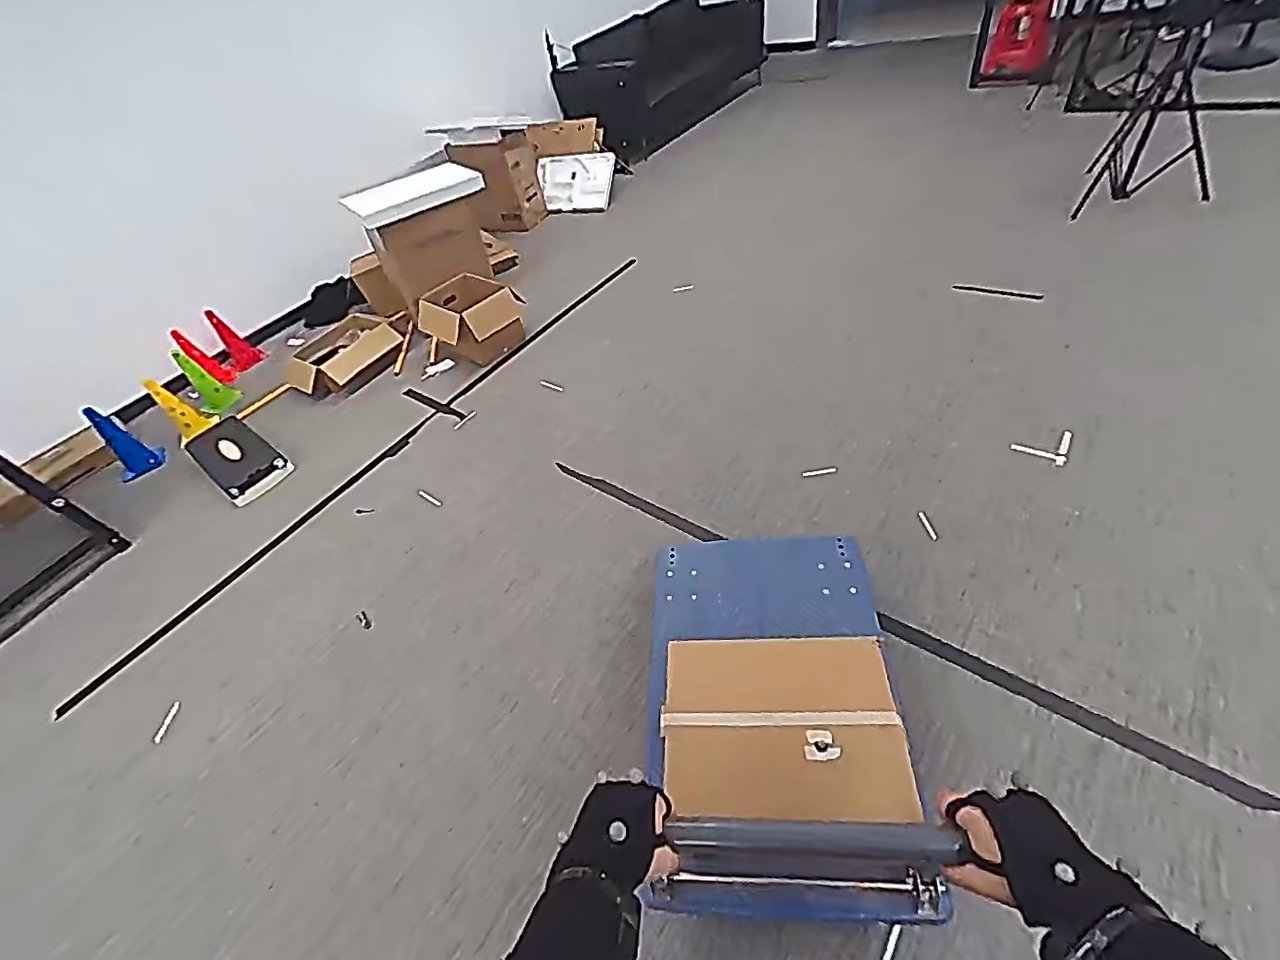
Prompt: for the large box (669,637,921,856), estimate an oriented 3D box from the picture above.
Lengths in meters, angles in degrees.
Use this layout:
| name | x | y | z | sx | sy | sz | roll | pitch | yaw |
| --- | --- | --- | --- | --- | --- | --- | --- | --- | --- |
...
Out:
| name | x | y | z | sx | sy | sz | roll | pitch | yaw |
| --- | --- | --- | --- | --- | --- | --- | --- | --- | --- |
| large box | 0.271 | 0.530 | 1.070 | 0.408 | 0.320 | 0.320 | -4 | 46 | 9 |
